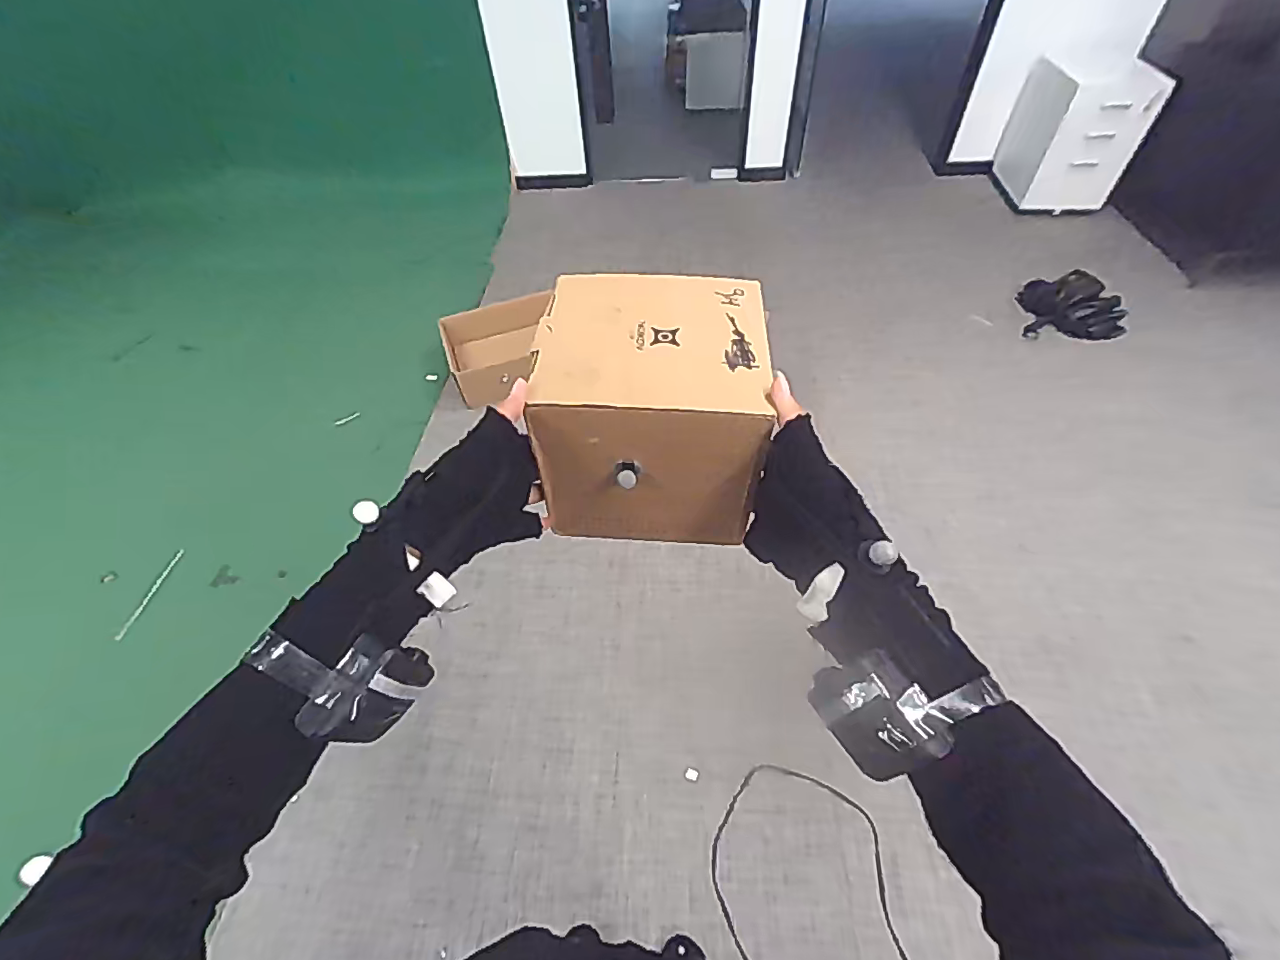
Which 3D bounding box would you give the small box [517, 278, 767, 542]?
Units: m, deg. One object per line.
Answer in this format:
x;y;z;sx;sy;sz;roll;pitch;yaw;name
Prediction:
0.008;-0.058;0.479;0.179;0.176;0.168;2;52;3;small box
